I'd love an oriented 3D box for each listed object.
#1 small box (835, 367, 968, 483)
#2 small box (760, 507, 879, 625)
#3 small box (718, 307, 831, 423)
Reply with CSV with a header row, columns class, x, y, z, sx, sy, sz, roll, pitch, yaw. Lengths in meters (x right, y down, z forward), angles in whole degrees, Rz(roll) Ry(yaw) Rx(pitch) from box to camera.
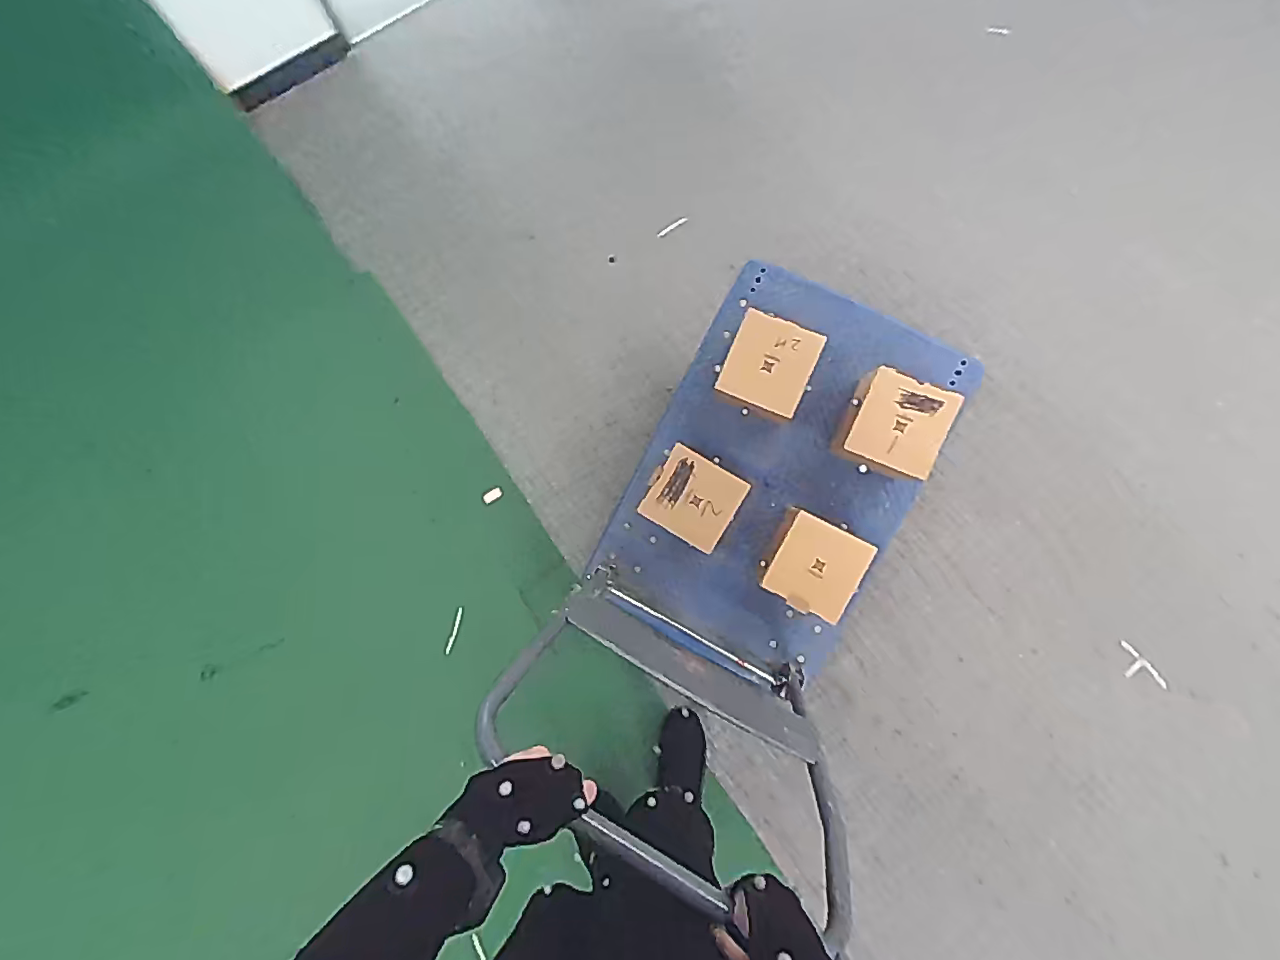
class,x,y,z,sx,sy,sz,roll,pitch,yaw
small box,0.520,-0.106,1.105,0.168,0.176,0.179,25,95,8
small box,0.363,0.169,1.133,0.168,0.176,0.179,28,96,7
small box,0.277,-0.232,1.139,0.168,0.176,0.179,25,94,7
